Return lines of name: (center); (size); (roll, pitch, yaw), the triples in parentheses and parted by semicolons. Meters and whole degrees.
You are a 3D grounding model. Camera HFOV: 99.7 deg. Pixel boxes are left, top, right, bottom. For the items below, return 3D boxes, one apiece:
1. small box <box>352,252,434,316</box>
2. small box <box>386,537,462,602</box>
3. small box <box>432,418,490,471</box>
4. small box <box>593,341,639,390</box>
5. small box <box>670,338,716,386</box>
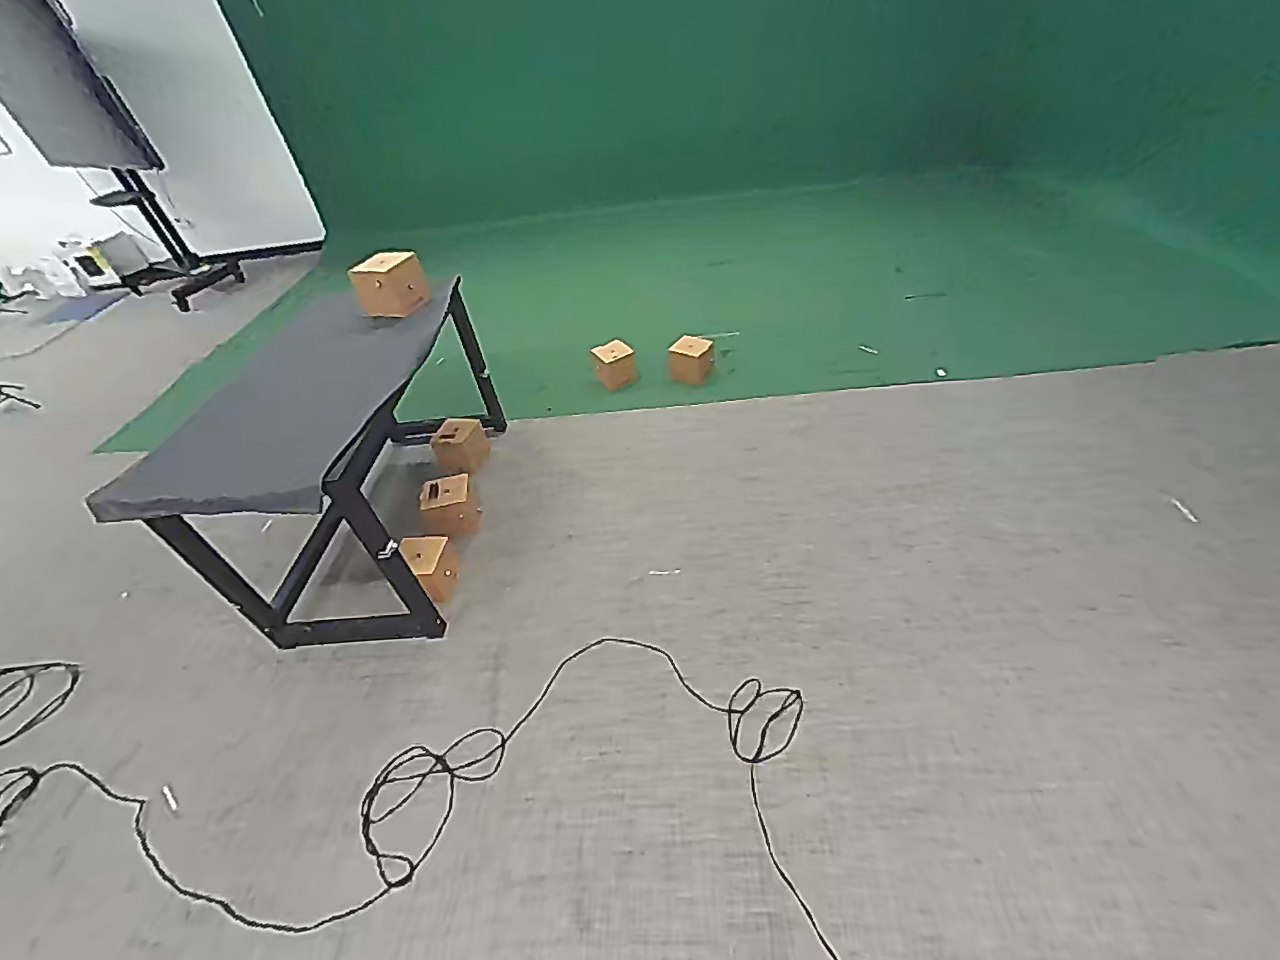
small box: (-0.880, -0.705, 1.947); (0.179, 0.176, 0.168); (8, 45, 21)
small box: (-0.751, 0.316, 1.905); (0.179, 0.176, 0.168); (-2, 43, 8)
small box: (-0.796, -0.159, 2.426); (0.168, 0.176, 0.179); (5, 43, 13)
small box: (-0.122, -0.589, 2.790); (0.168, 0.176, 0.179); (-27, 44, -19)
small box: (0.270, -0.594, 2.733); (0.179, 0.176, 0.168); (21, 49, 29)
